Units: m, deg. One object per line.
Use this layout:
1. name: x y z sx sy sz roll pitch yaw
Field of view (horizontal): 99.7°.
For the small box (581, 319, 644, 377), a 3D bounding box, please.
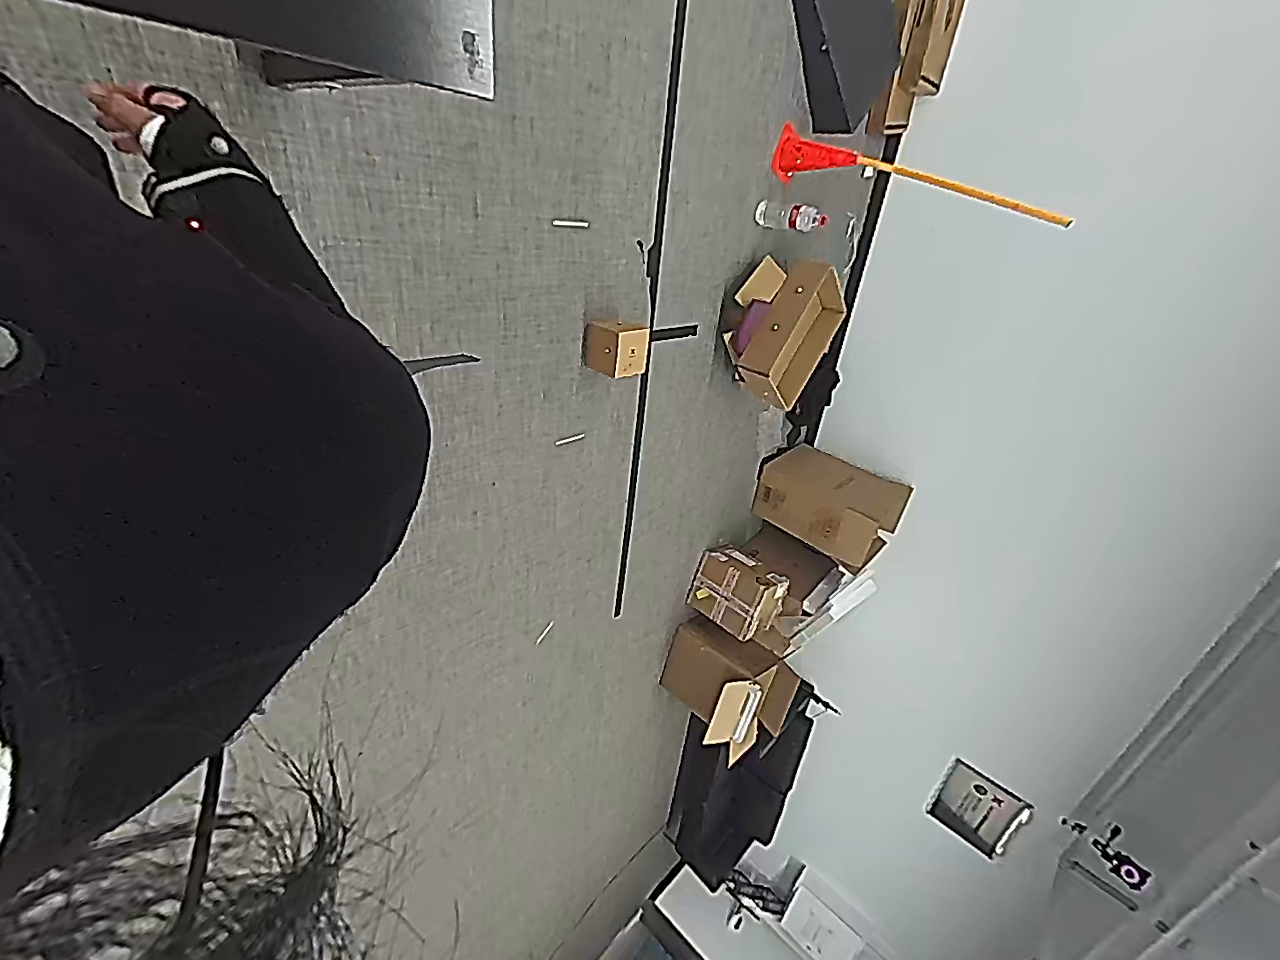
1. small box: -0.108 -0.509 2.061 0.168 0.176 0.179 -22 130 -43
